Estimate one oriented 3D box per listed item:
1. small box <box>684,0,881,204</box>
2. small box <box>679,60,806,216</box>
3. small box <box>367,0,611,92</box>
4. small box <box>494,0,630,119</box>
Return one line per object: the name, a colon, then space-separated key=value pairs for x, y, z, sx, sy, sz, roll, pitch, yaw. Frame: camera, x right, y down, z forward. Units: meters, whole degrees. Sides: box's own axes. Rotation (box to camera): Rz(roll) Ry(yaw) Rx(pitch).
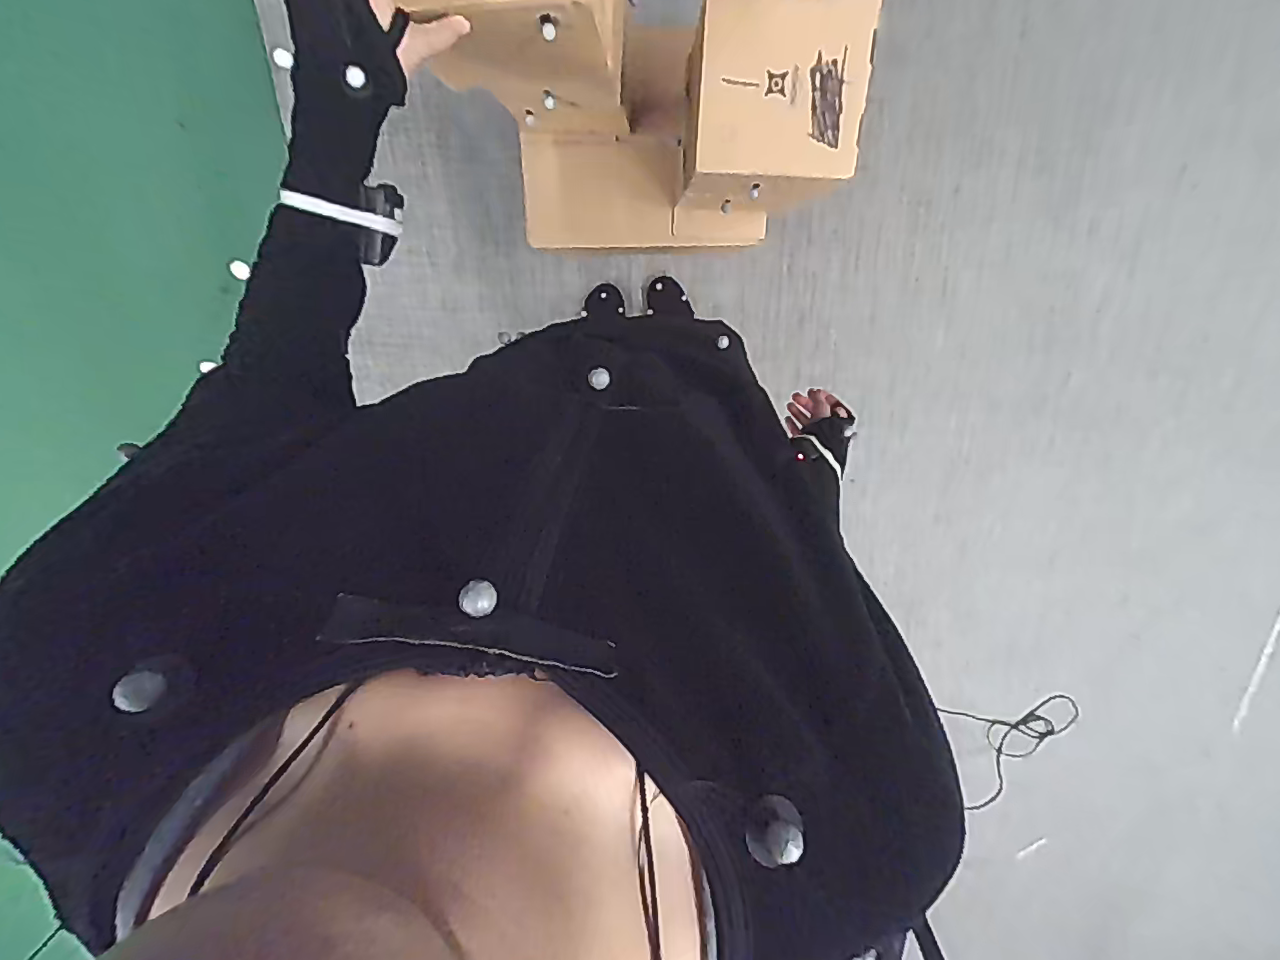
small box: x=0.150 y=-0.430 z=0.637 sx=0.179 sy=0.176 sz=0.168 roll=3 pitch=111 yaw=0
small box: x=0.149 y=-0.486 z=0.791 sx=0.179 sy=0.176 sz=0.168 roll=2 pitch=112 yaw=1
small box: x=-0.124 y=-0.459 z=0.463 sx=0.179 sy=0.176 sz=0.168 roll=-4 pitch=110 yaw=3
small box: x=-0.101 y=-0.538 z=0.608 sx=0.168 sy=0.176 sz=0.179 roll=6 pitch=111 yaw=1
